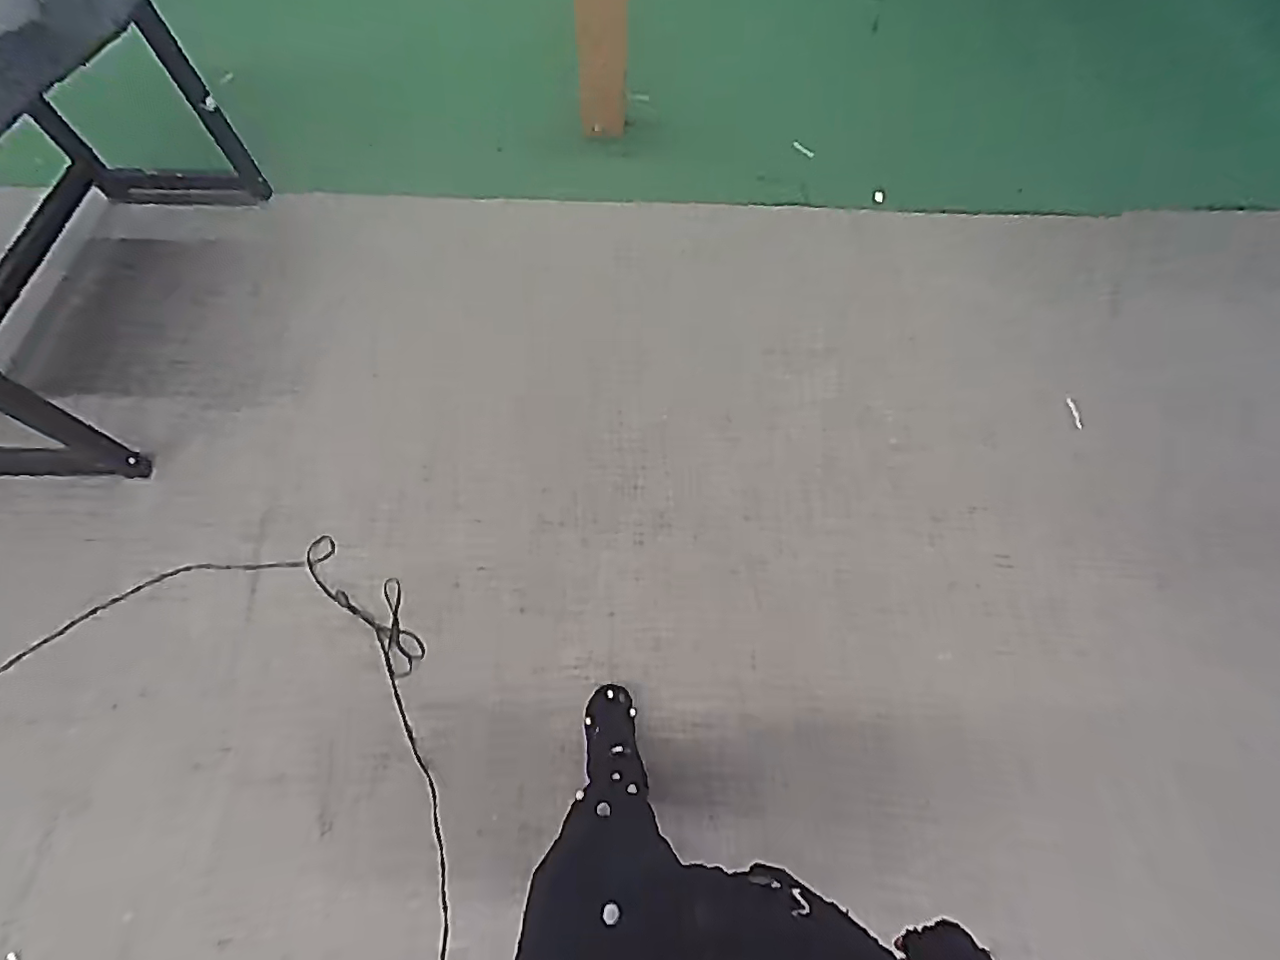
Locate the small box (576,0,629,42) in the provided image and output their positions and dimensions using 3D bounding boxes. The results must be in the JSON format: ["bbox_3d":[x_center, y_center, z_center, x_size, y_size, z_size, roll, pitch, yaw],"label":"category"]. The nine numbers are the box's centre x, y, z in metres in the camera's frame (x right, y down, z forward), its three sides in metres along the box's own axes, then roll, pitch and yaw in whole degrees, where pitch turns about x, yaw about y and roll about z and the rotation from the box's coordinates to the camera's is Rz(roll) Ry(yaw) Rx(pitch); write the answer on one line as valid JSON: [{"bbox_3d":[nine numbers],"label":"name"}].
[{"bbox_3d":[-0.124,-1.625,1.834,0.168,0.176,0.179,3,63,1],"label":"small box"}]

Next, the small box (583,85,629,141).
[{"bbox_3d":[-0.129,-1.472,2.125,0.168,0.176,0.179,2,66,1],"label":"small box"}]

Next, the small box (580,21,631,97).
[{"bbox_3d":[-0.123,-1.547,1.980,0.168,0.176,0.179,3,63,1],"label":"small box"}]
